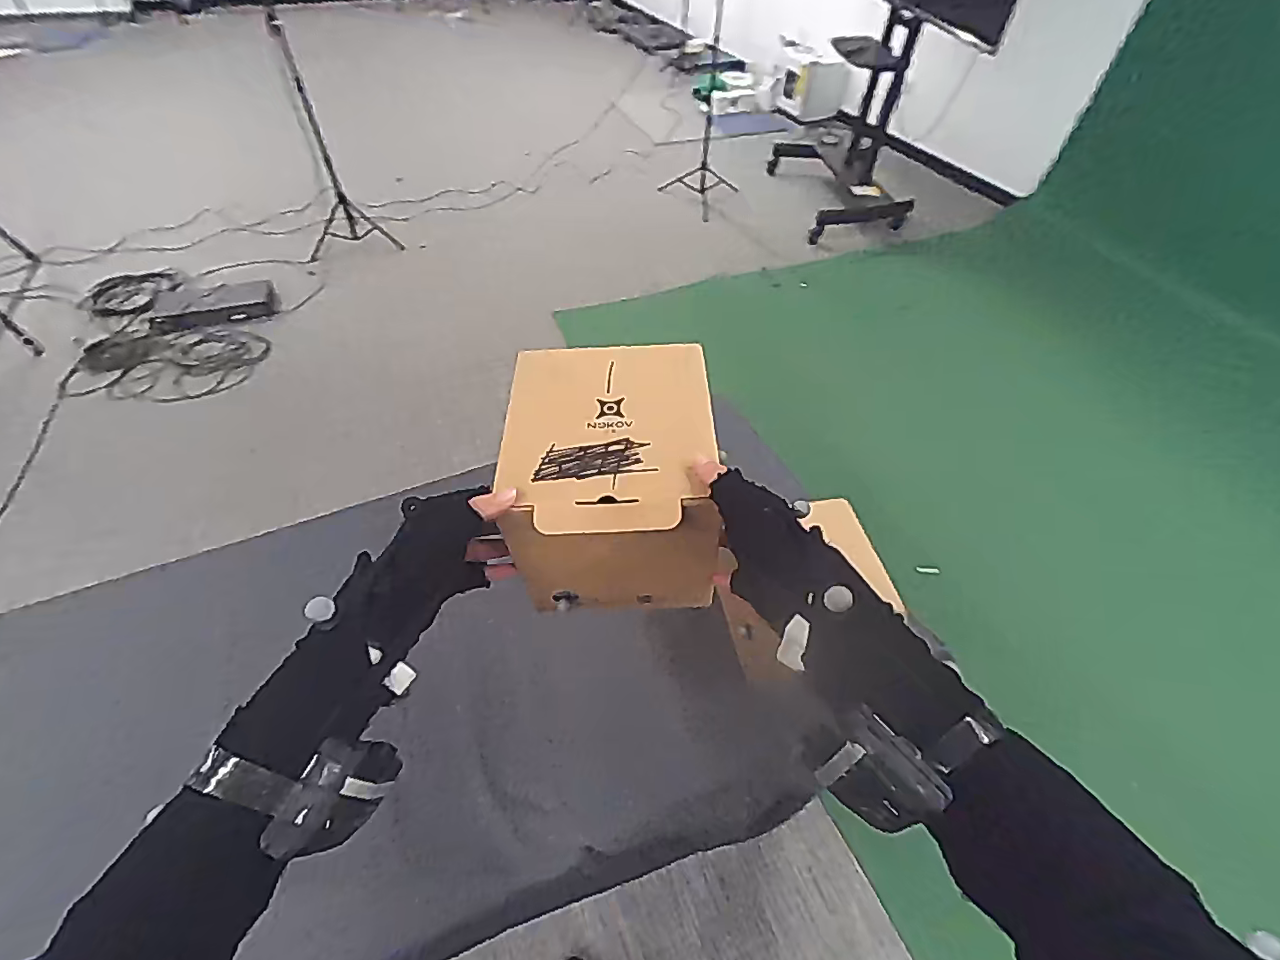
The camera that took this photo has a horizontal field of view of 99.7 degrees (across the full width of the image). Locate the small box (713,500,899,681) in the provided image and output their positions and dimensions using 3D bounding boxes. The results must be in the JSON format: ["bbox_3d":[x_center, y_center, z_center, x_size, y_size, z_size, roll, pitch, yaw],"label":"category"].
[{"bbox_3d":[0.206,0.154,0.729,0.168,0.176,0.179,-7,49,-9],"label":"small box"}]

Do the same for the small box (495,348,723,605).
[{"bbox_3d":[-0.018,0.004,0.490,0.168,0.176,0.179,-2,51,1],"label":"small box"}]
